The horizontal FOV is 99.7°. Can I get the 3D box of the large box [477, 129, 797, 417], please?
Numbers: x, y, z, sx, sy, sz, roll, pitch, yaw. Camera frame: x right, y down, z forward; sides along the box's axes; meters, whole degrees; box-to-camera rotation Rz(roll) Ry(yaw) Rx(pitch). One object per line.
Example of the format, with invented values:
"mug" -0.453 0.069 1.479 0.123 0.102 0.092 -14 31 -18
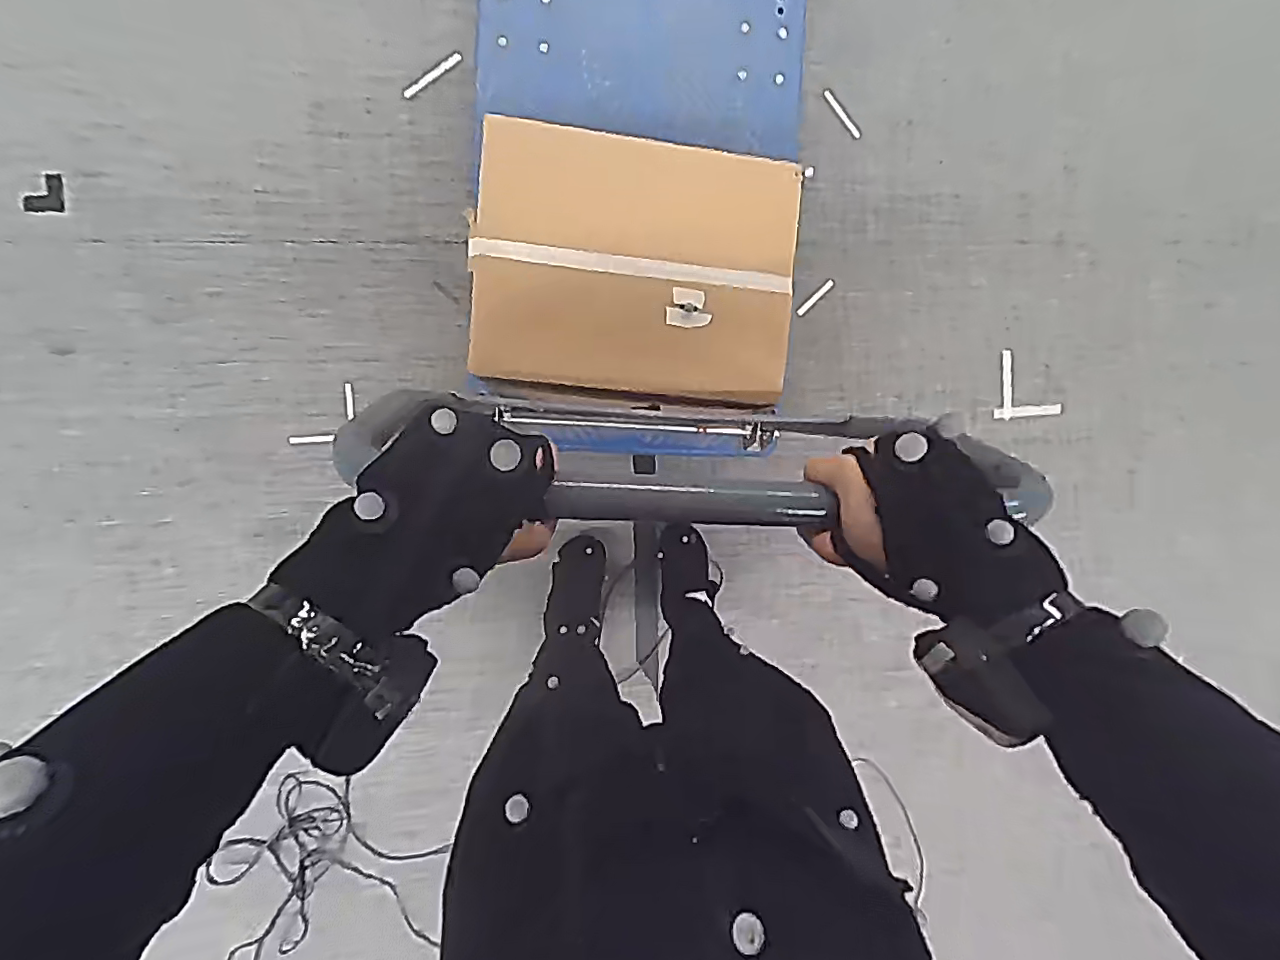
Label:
"large box" -0.020 -0.272 0.836 0.408 0.320 0.320 4 94 -8
